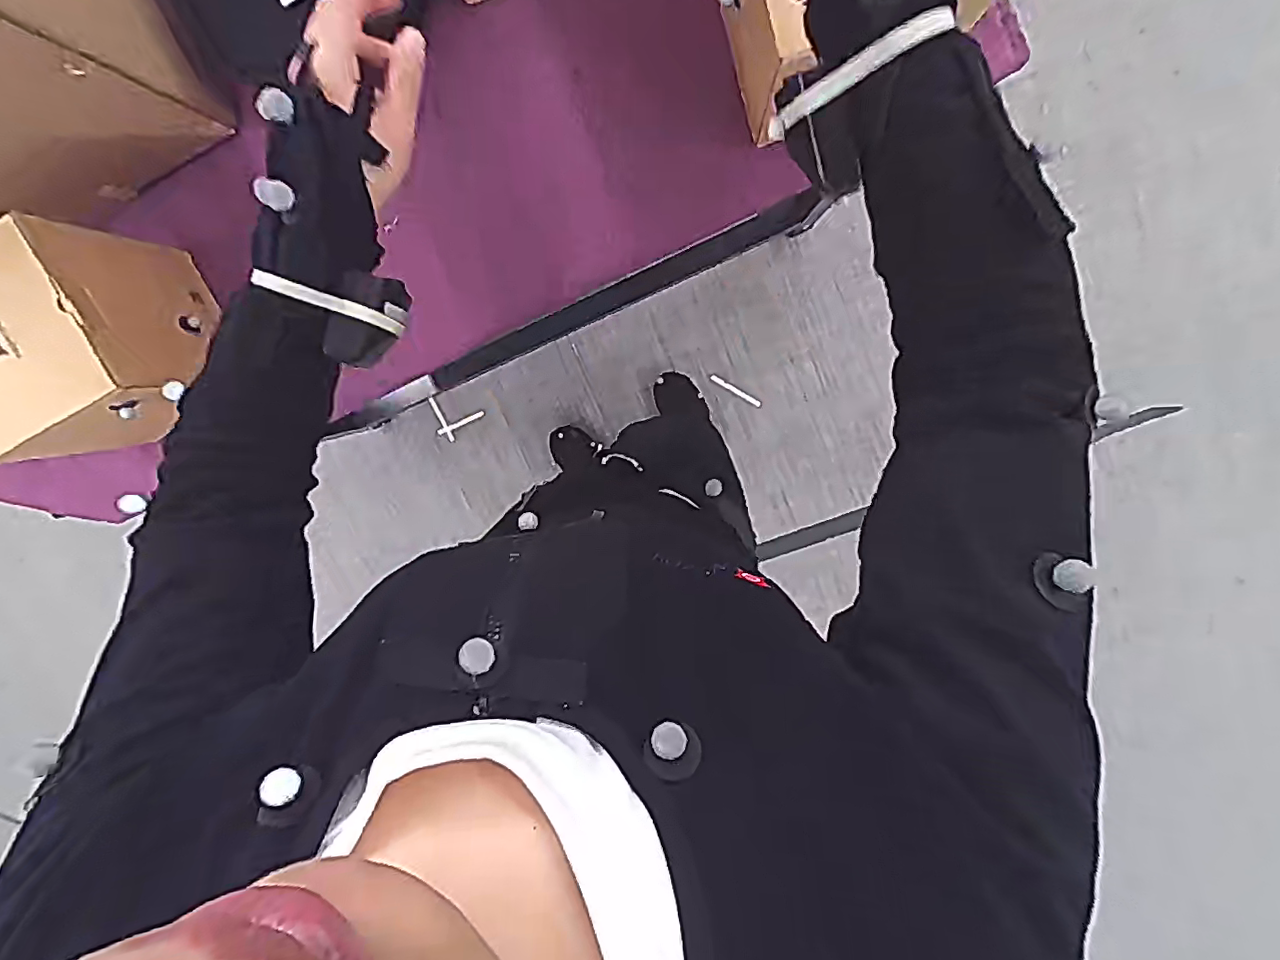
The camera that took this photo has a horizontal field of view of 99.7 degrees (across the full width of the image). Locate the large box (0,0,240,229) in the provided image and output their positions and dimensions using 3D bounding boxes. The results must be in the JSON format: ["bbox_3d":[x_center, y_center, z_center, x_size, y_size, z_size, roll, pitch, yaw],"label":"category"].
[{"bbox_3d":[-0.655,-0.461,0.426,0.320,0.320,0.408,-24,102,10],"label":"large box"}]

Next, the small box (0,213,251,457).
[{"bbox_3d":[-0.570,-0.138,0.564,0.179,0.176,0.168,-25,99,9],"label":"small box"}]
